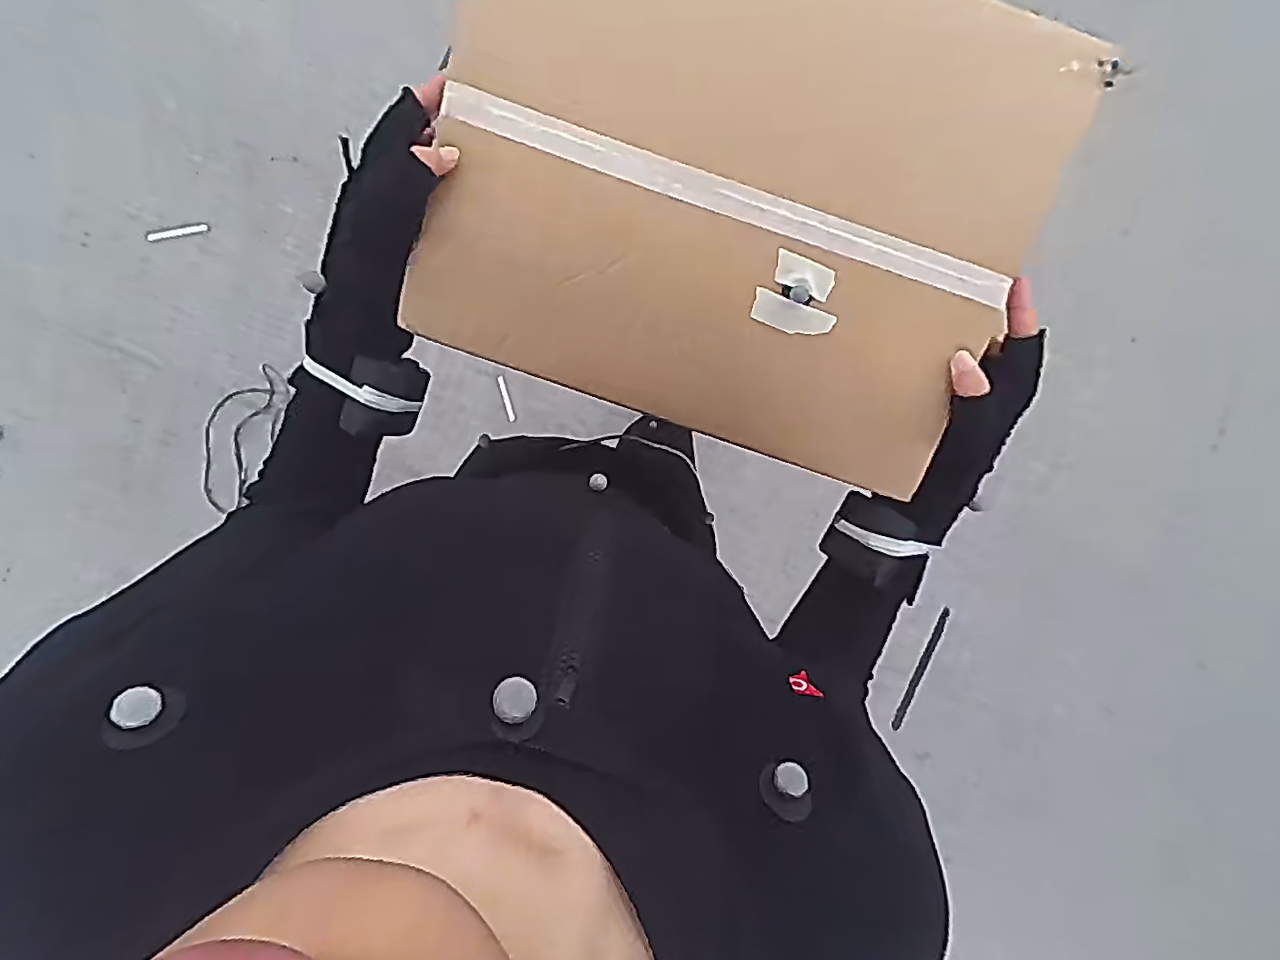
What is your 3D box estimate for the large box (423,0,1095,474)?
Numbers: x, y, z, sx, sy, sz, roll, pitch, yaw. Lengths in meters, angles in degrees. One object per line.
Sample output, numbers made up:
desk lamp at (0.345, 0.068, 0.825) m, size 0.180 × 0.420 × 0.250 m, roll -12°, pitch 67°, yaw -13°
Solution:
large box at (0.071, -0.237, 0.527) m, size 0.408 × 0.320 × 0.320 m, roll 19°, pitch 104°, yaw -3°
